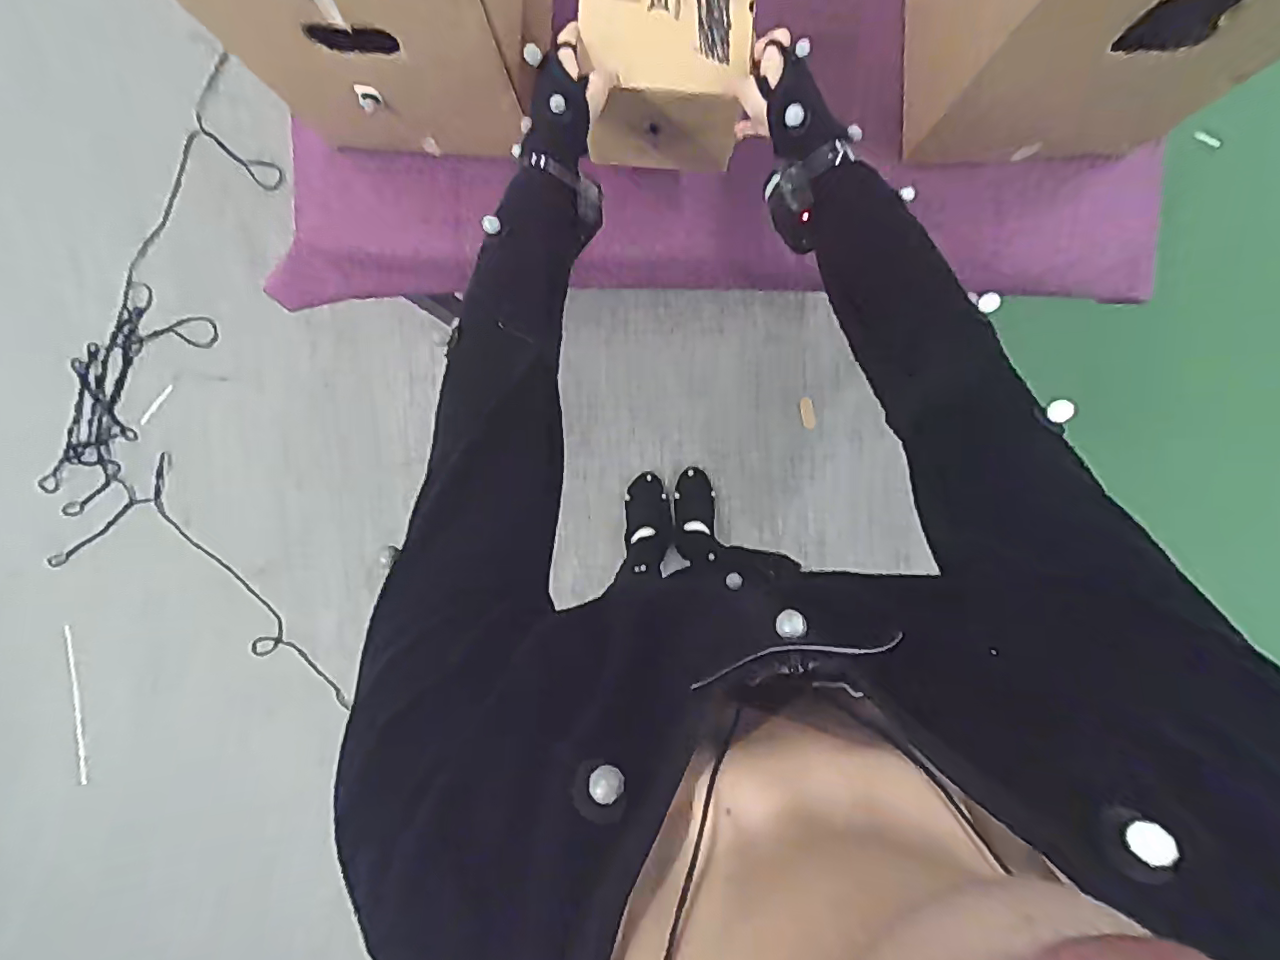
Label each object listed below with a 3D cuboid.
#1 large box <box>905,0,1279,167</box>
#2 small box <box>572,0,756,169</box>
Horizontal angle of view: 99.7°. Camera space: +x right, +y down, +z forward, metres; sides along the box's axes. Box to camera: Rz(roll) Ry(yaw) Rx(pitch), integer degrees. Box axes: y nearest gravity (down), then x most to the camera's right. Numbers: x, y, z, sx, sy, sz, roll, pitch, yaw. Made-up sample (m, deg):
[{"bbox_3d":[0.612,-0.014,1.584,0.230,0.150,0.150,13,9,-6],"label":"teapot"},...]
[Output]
[{"bbox_3d":[0.511,-0.630,0.594,0.320,0.320,0.408,-1,93,3],"label":"large box"},{"bbox_3d":[0.027,-0.473,0.605,0.179,0.176,0.168,5,96,1],"label":"small box"}]
